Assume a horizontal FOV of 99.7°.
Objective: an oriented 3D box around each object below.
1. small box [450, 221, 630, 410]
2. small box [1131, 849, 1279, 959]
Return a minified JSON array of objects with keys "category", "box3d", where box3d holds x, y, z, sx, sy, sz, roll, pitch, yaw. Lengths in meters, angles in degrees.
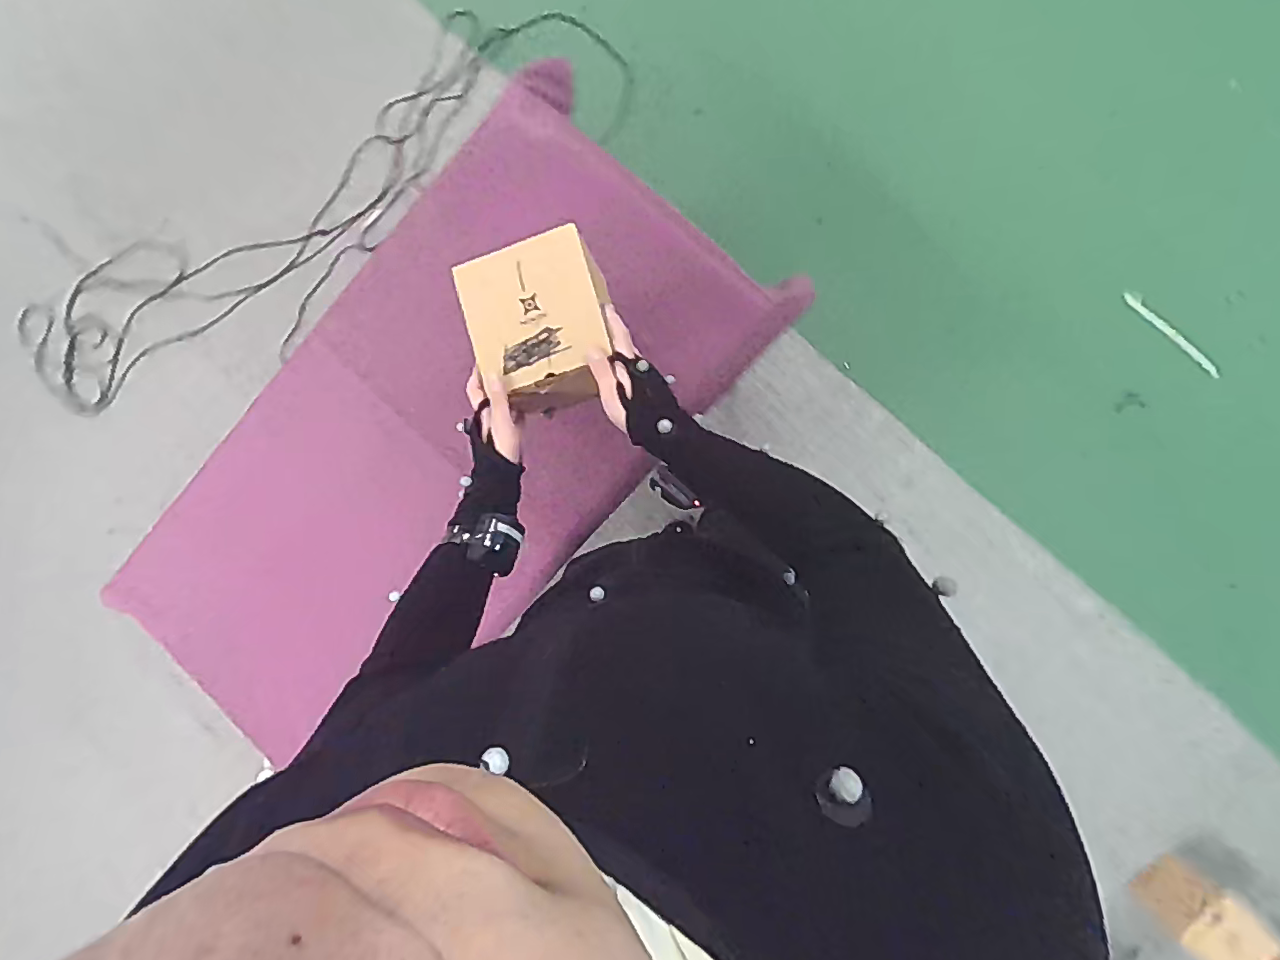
[{"category":"small box","box3d":[-0.120,-0.199,0.718,0.168,0.176,0.179,-16,86,7]},{"category":"small box","box3d":[1.434,1.101,1.375,0.179,0.176,0.168,43,94,4]}]
